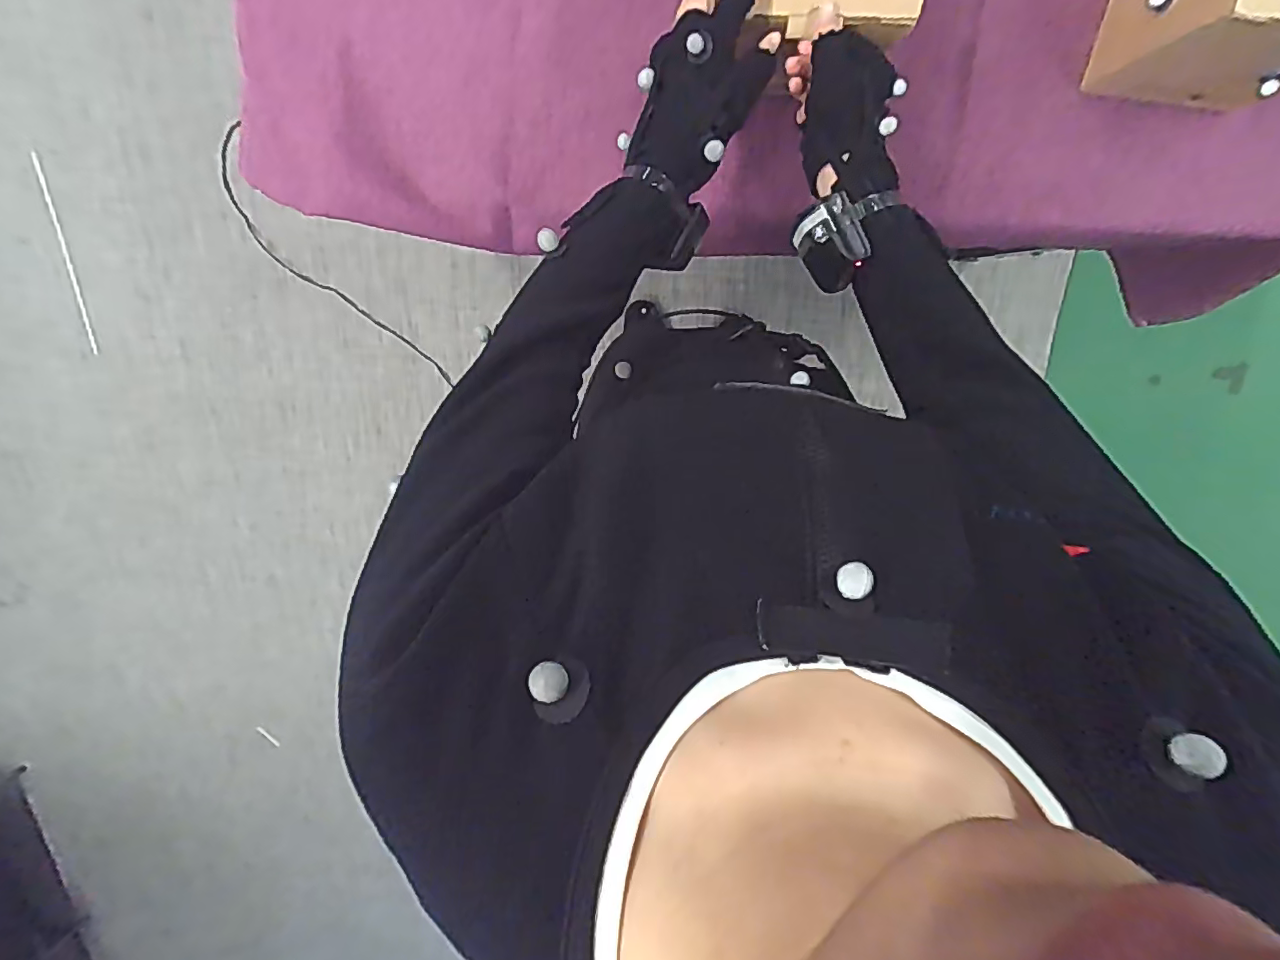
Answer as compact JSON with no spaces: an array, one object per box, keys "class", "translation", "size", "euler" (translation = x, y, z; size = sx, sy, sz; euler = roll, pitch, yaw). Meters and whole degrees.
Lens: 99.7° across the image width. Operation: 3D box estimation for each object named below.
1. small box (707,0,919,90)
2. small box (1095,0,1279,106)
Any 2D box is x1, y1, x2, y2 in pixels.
[{"class":"small box","translation":[0.151,-0.479,0.486],"size":[0.168,0.176,0.179],"euler":[4,109,2]},{"class":"small box","translation":[0.556,-0.457,0.469],"size":[0.168,0.176,0.179],"euler":[9,108,0]}]
